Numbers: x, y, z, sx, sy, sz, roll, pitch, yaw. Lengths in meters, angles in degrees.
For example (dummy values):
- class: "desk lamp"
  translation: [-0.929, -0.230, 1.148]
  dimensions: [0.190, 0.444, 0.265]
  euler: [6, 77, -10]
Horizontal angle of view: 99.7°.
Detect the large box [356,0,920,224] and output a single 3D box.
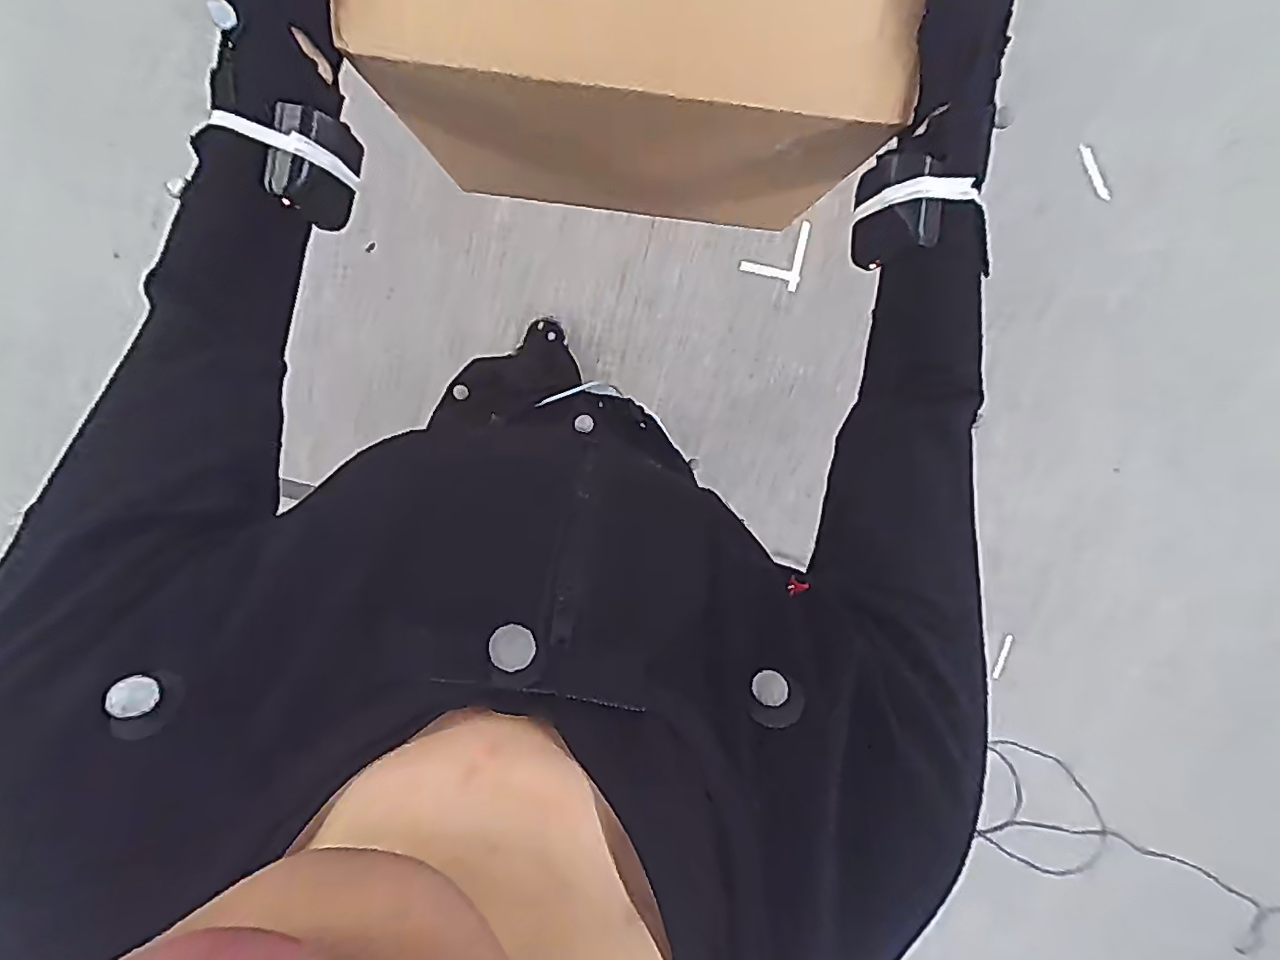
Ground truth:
- class: "large box"
  translation: [0.003, -0.460, 0.506]
  dimensions: [0.408, 0.320, 0.320]
  euler: [5, 102, -4]
